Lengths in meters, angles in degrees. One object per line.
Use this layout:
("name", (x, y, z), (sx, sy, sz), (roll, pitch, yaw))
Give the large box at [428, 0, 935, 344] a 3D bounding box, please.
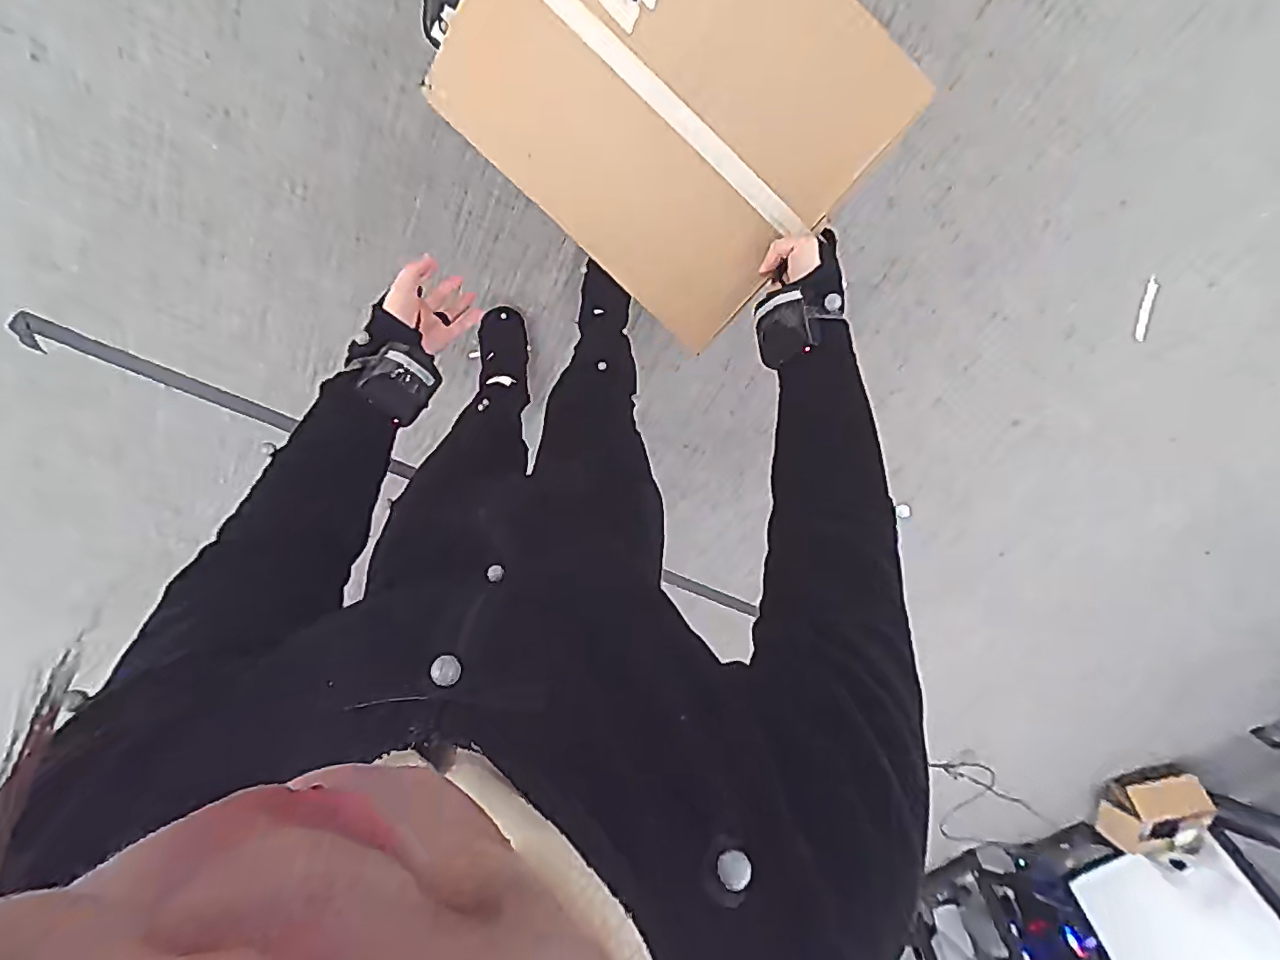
("large box", (0.054, -0.429, 0.644), (0.408, 0.320, 0.320), (42, 117, -4))
